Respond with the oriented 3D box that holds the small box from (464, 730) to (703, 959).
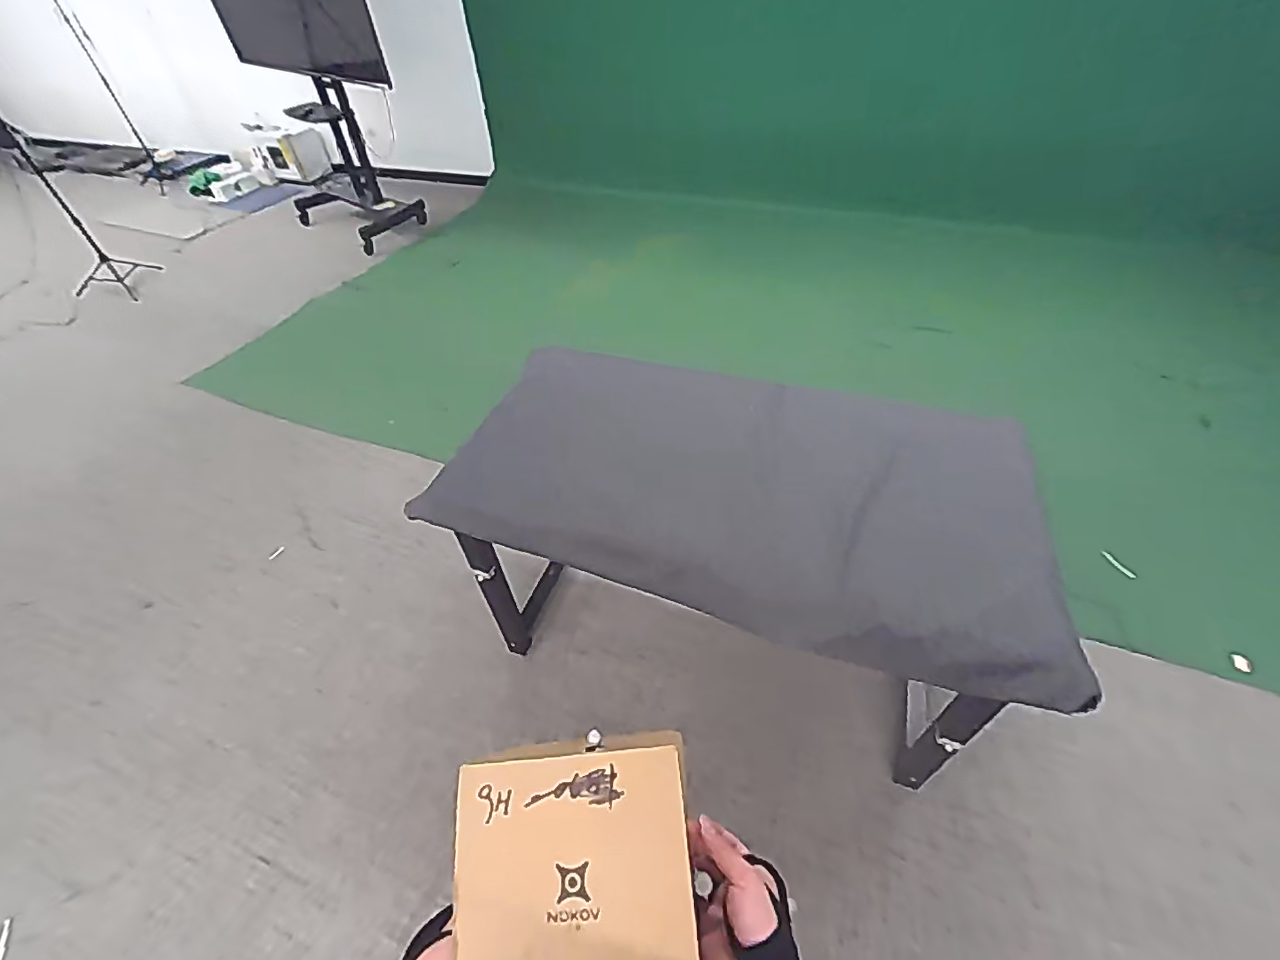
[{"bbox_3d":[-0.036,0.318,0.454,0.168,0.176,0.179,-6,69,2],"label":"small box"}]
